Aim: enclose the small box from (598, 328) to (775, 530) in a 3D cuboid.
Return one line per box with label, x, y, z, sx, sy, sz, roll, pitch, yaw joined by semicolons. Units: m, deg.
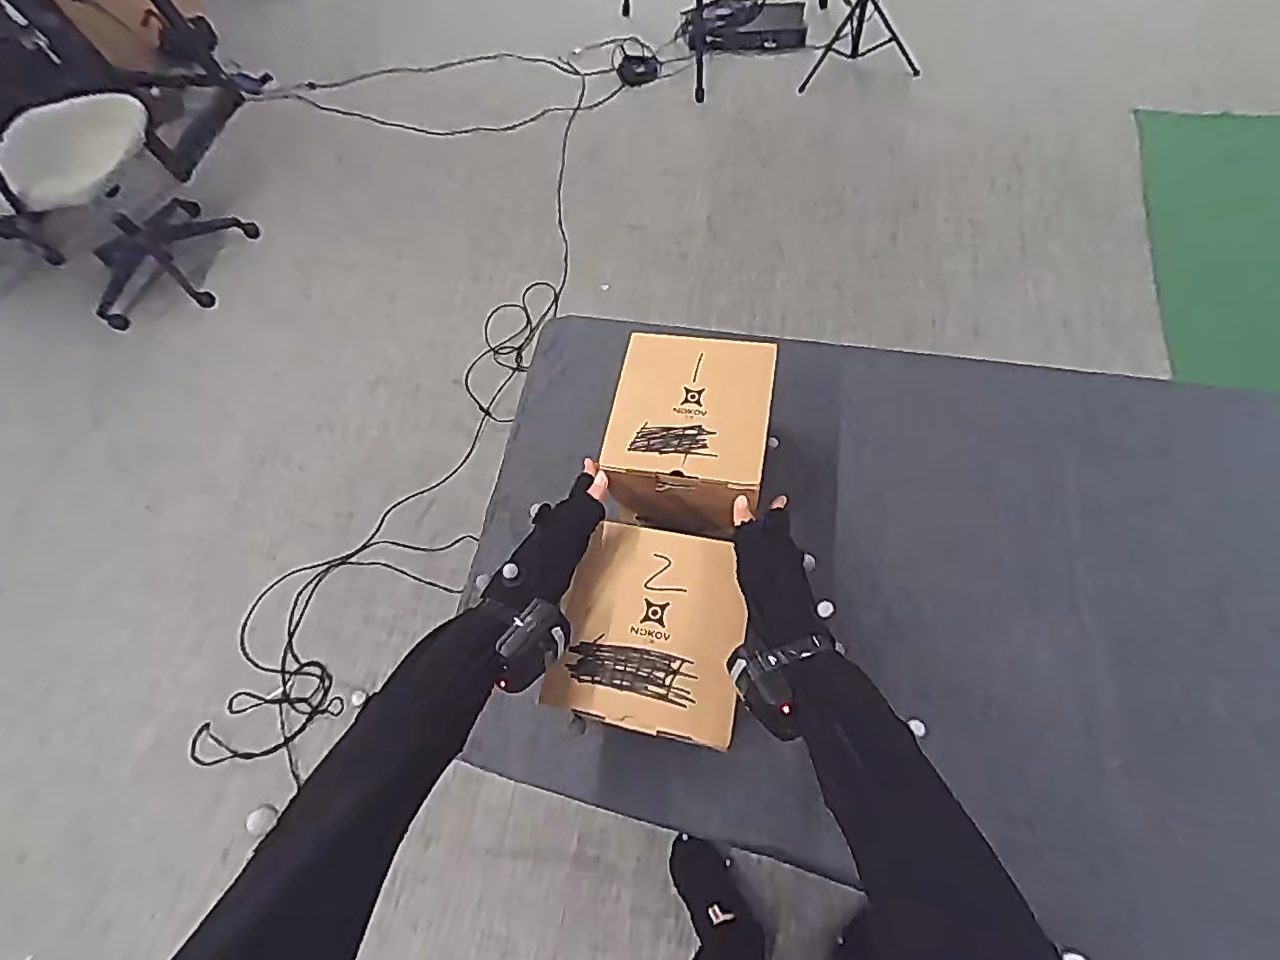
small box;0.062;-0.053;0.643;0.168;0.176;0.179;8;67;11
